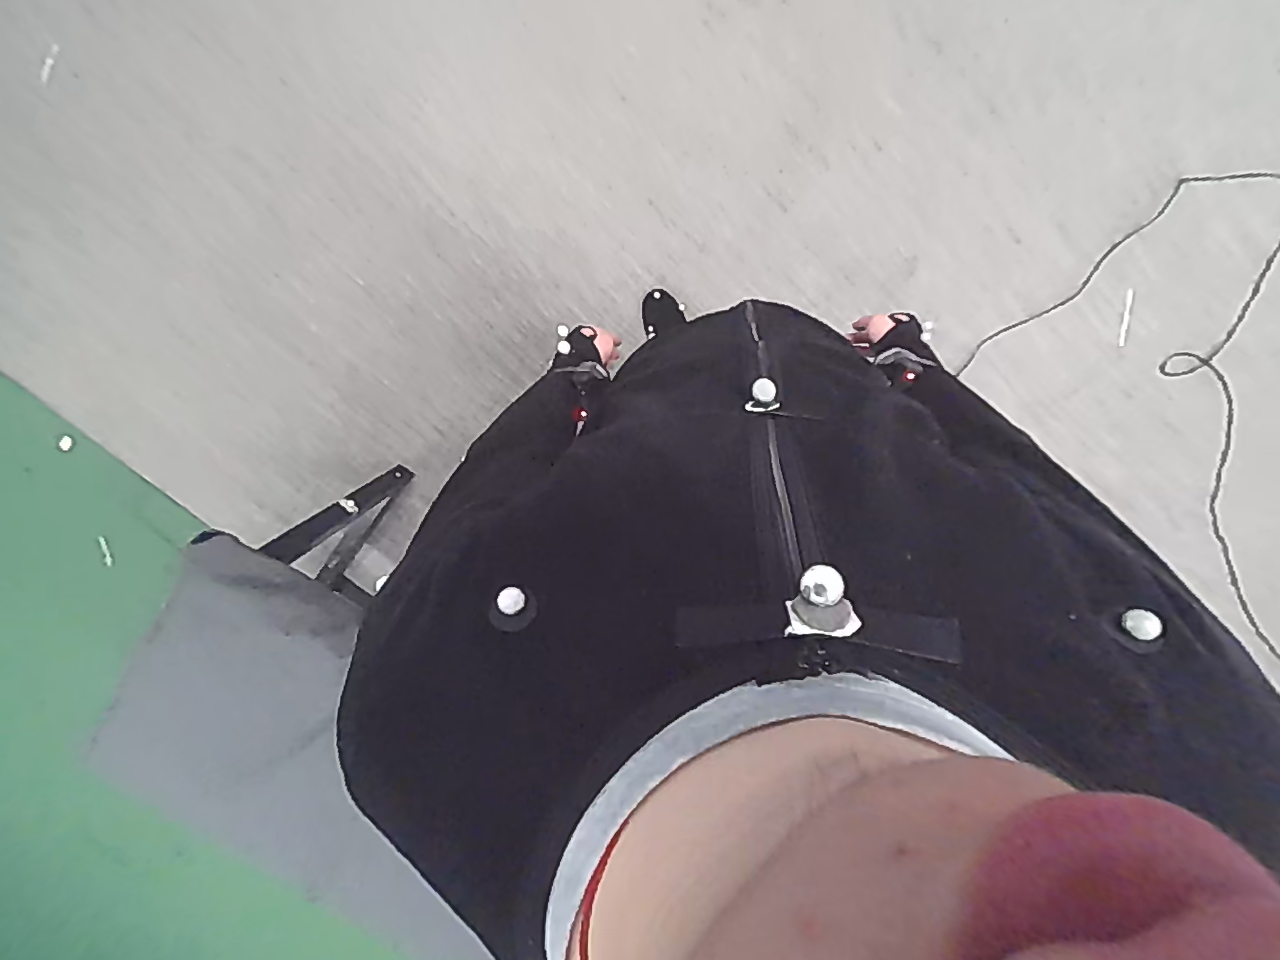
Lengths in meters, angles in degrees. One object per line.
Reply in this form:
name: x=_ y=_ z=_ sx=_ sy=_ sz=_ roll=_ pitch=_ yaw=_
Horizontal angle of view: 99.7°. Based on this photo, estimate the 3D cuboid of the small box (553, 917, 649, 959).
small box: x=-0.089 y=1.061 z=1.117 sx=0.168 sy=0.176 sz=0.179 roll=37 pitch=106 yaw=-8
